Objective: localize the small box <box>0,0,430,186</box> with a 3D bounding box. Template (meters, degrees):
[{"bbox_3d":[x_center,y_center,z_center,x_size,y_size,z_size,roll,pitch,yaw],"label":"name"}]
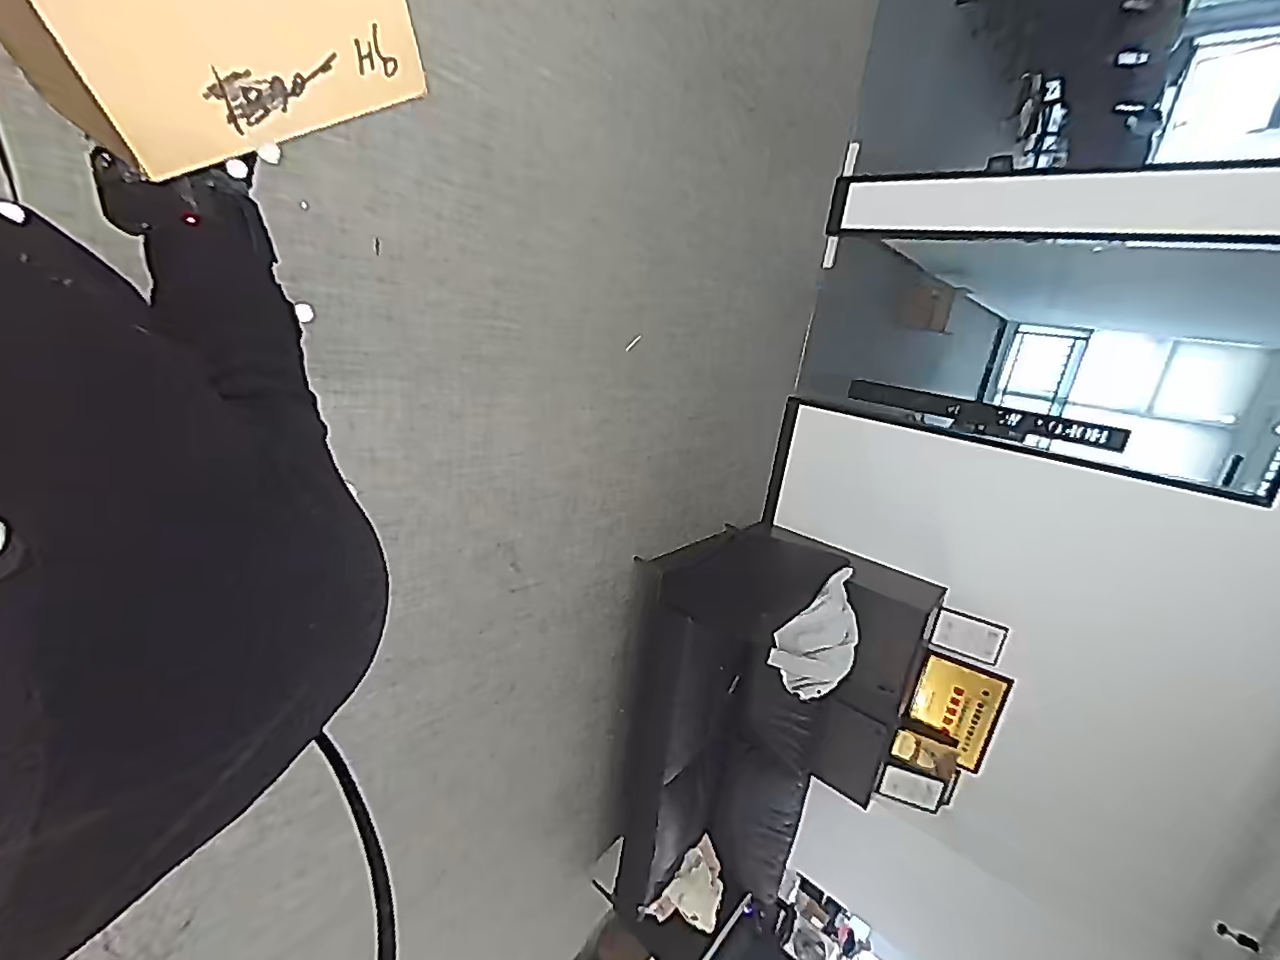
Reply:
[{"bbox_3d":[-0.251,-0.291,0.282,0.168,0.176,0.179,-42,153,-27],"label":"small box"}]
